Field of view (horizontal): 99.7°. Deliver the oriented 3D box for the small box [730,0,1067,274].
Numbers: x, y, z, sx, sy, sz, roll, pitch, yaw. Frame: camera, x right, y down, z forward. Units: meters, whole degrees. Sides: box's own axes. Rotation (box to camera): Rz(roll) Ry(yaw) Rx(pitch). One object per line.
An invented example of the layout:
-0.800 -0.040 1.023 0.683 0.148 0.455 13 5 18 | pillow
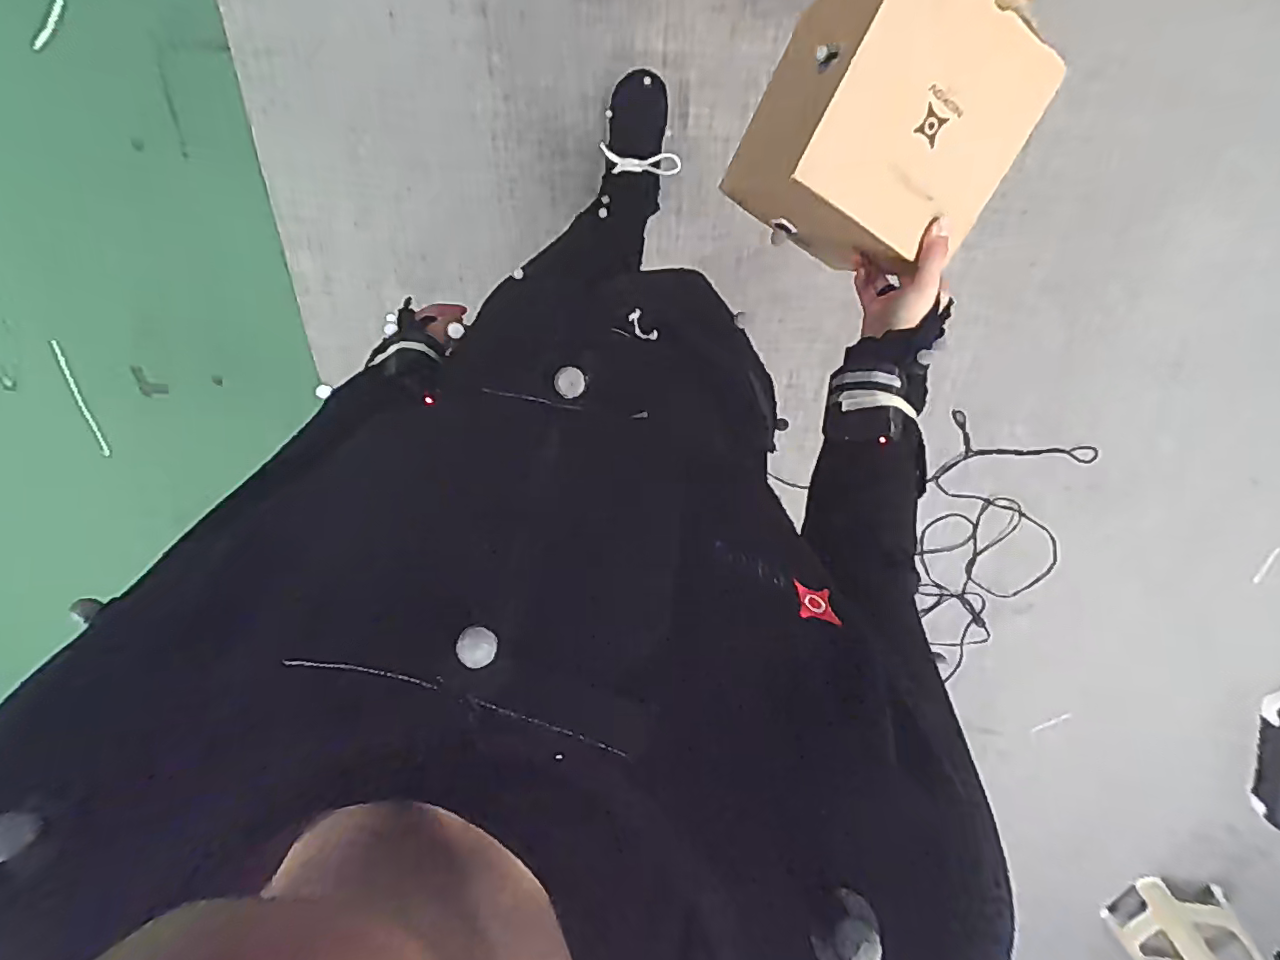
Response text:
0.207 -0.308 0.481 0.168 0.176 0.179 22 106 -22 | small box
